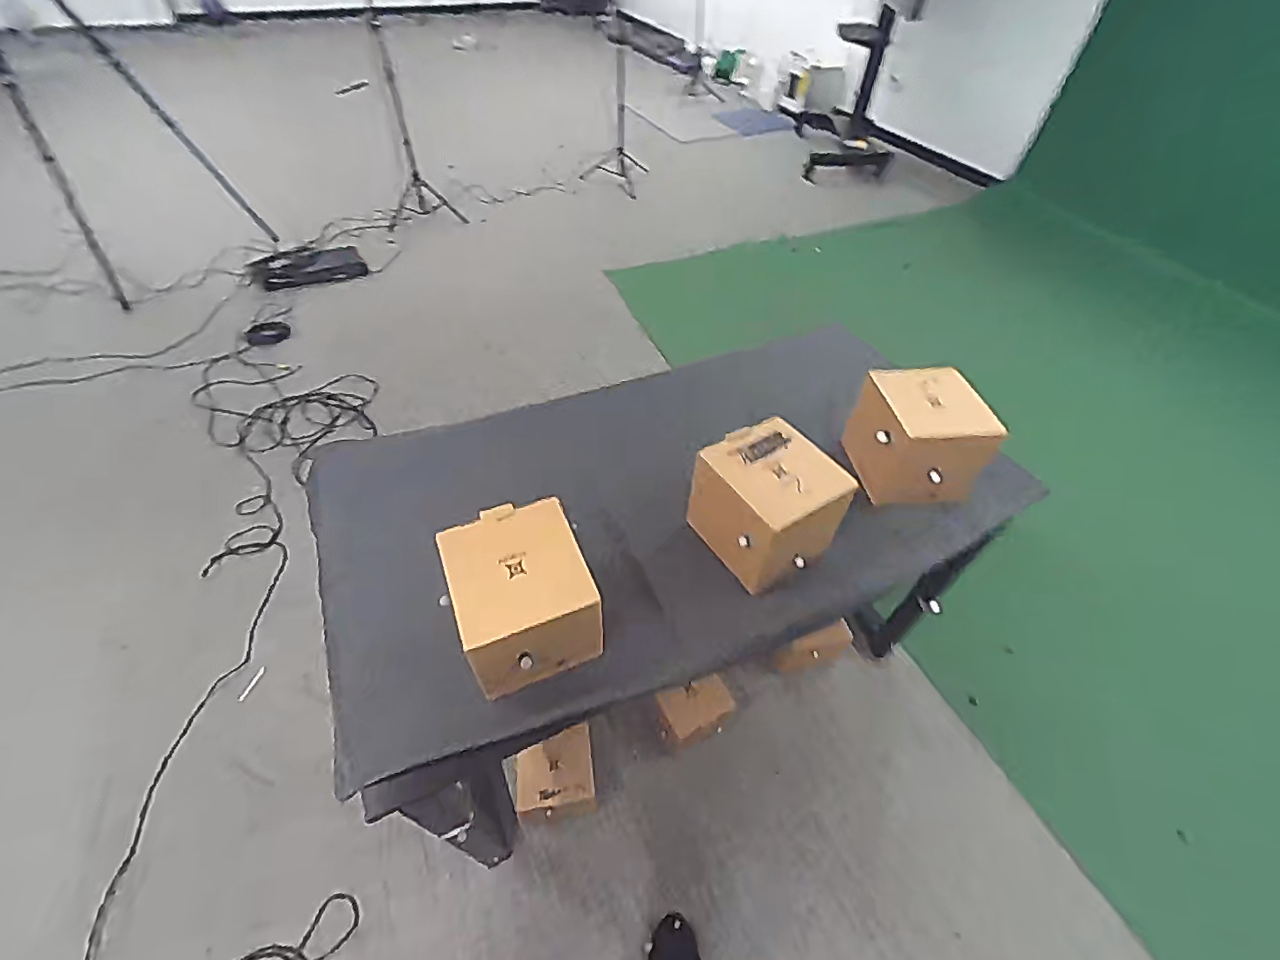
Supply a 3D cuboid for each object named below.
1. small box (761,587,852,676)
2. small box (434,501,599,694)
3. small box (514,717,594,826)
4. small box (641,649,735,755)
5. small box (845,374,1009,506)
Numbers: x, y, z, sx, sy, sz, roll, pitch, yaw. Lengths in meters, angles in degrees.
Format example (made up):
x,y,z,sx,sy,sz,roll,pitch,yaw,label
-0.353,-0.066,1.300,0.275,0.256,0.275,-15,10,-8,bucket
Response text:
x,y,z,sx,sy,sz,roll,pitch,yaw,label
0.447,0.422,1.493,0.179,0.176,0.168,-7,50,-11,small box
-0.158,0.163,0.723,0.168,0.176,0.179,-17,52,-17,small box
-0.195,0.672,1.245,0.168,0.176,0.179,-5,49,-7,small box
0.113,0.563,1.354,0.168,0.176,0.179,-20,52,-20,small box
0.487,-0.066,0.949,0.168,0.176,0.179,-2,47,-5,small box
